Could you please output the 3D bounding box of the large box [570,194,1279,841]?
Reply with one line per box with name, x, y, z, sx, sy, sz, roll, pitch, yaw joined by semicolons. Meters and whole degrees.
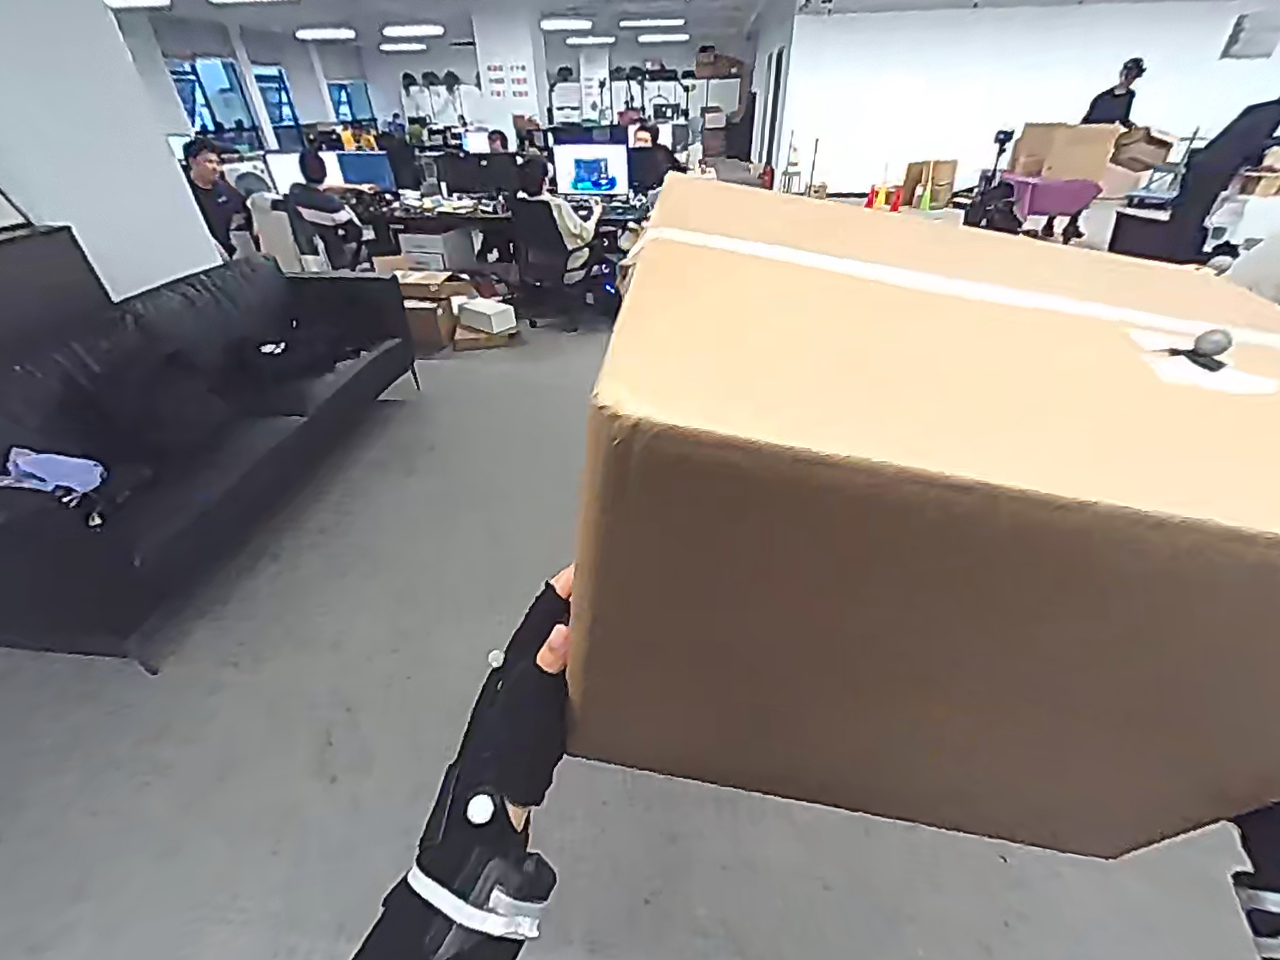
large box;0.179;0.023;0.407;0.408;0.320;0.320;11;43;0
